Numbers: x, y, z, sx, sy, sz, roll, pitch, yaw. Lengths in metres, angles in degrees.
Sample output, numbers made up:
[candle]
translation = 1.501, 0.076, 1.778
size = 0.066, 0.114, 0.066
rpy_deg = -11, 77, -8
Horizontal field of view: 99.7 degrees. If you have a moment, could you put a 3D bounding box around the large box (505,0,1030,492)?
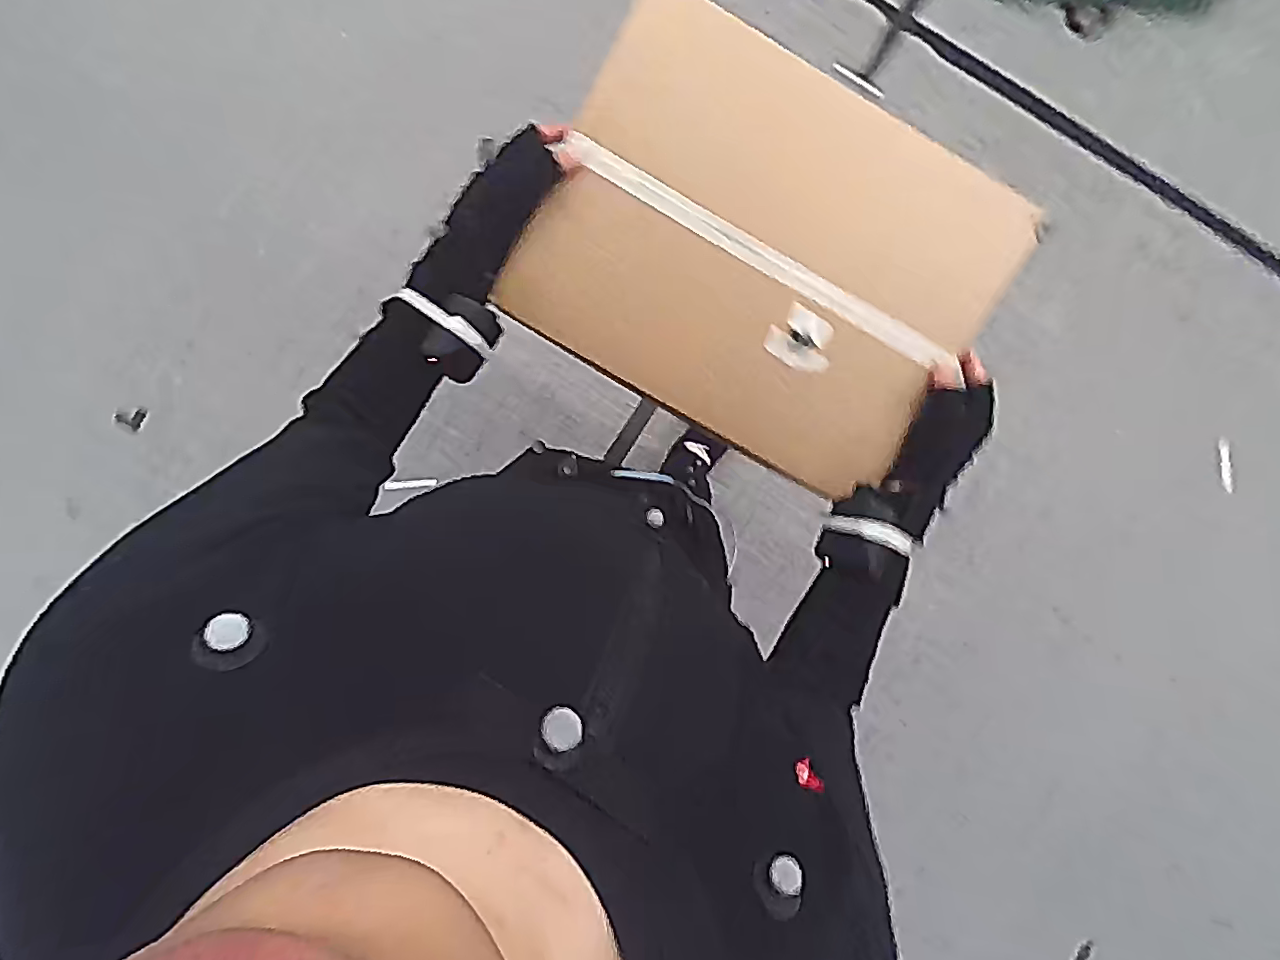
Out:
[large box]
translation = 0.113, -0.230, 0.647
size = 0.408, 0.320, 0.320
rpy_deg = 29, 98, -5
